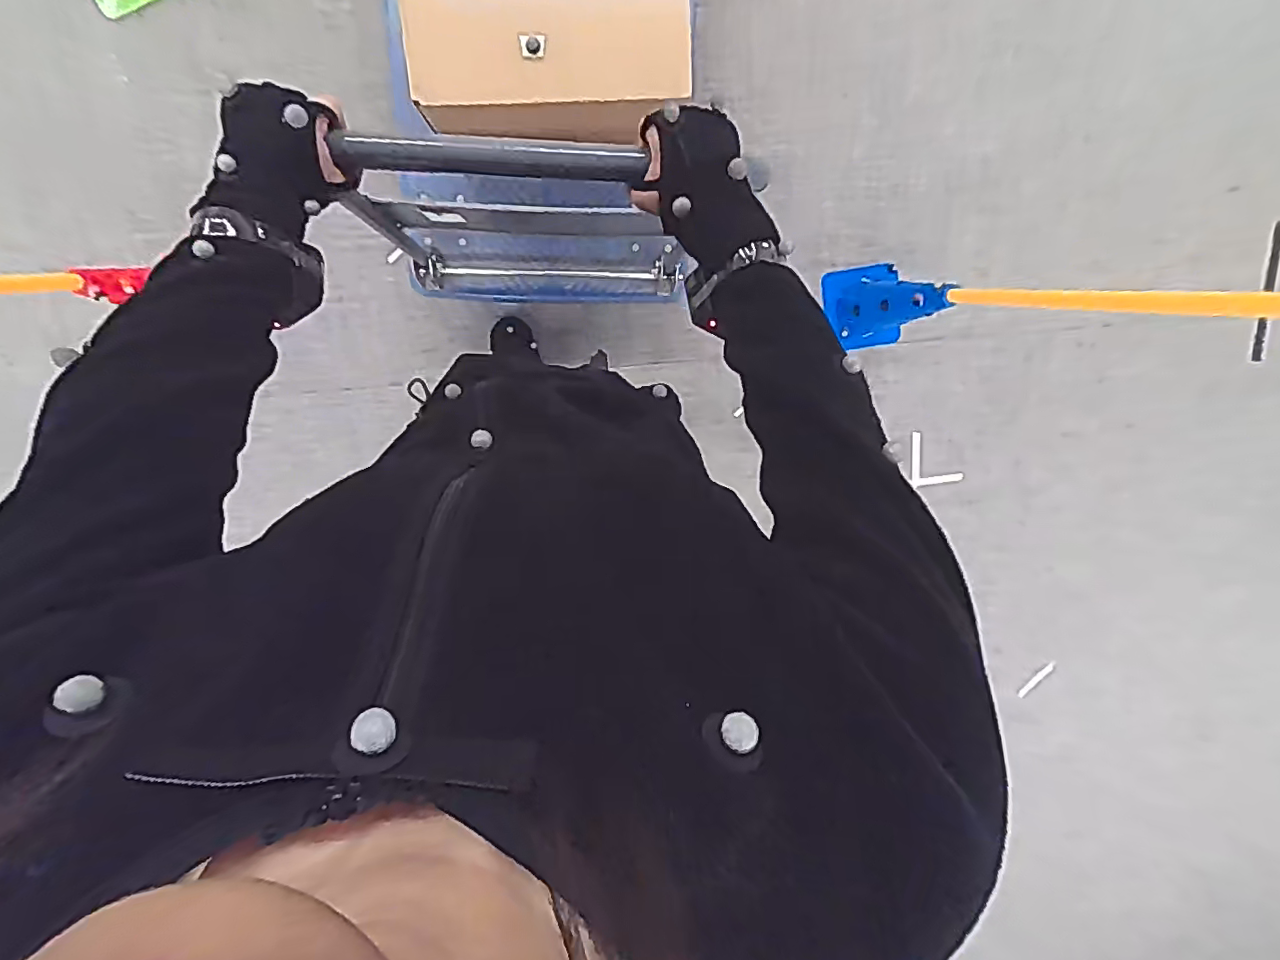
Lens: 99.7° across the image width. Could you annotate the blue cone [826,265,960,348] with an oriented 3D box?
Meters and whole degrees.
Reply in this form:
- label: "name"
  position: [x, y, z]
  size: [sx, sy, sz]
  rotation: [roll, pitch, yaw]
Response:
- label: "blue cone"
  position: [0.587, -0.405, 1.224]
  size: [0.193, 0.380, 0.192]
  rotation: [-9, 104, -4]
